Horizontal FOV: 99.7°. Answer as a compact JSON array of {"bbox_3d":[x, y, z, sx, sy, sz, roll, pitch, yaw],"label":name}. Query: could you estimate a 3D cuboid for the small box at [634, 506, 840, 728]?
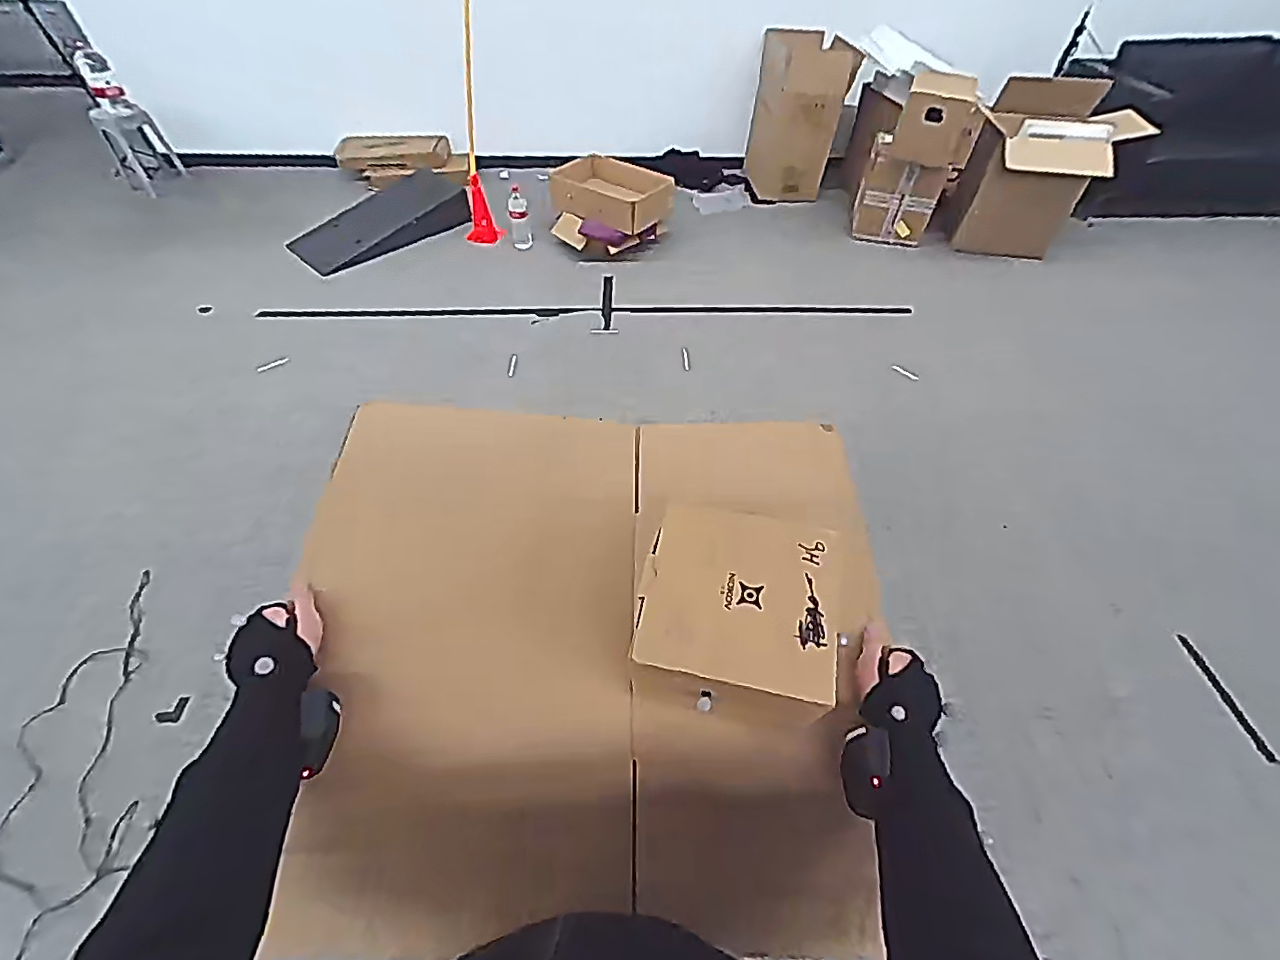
[{"bbox_3d":[0.101,0.150,0.573,0.179,0.176,0.168,9,58,9],"label":"small box"}]
